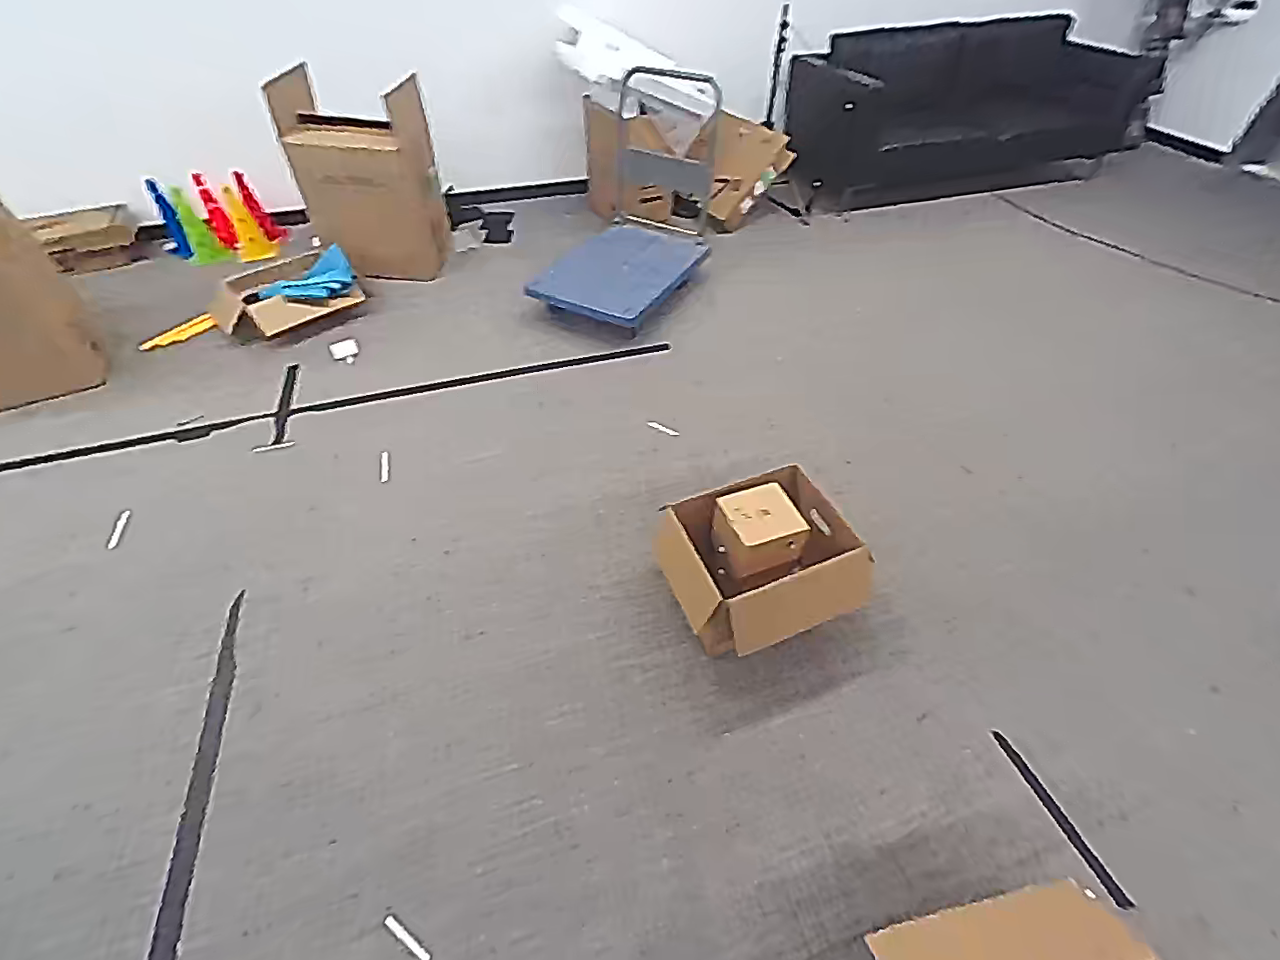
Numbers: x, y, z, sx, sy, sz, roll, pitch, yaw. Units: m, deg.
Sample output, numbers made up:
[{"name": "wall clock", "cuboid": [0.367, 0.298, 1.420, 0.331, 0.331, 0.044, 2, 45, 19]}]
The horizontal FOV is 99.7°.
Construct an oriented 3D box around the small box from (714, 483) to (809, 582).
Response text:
[{"name": "small box", "cuboid": [0.307, 0.138, 1.409, 0.179, 0.176, 0.168, -15, 48, -13]}]
